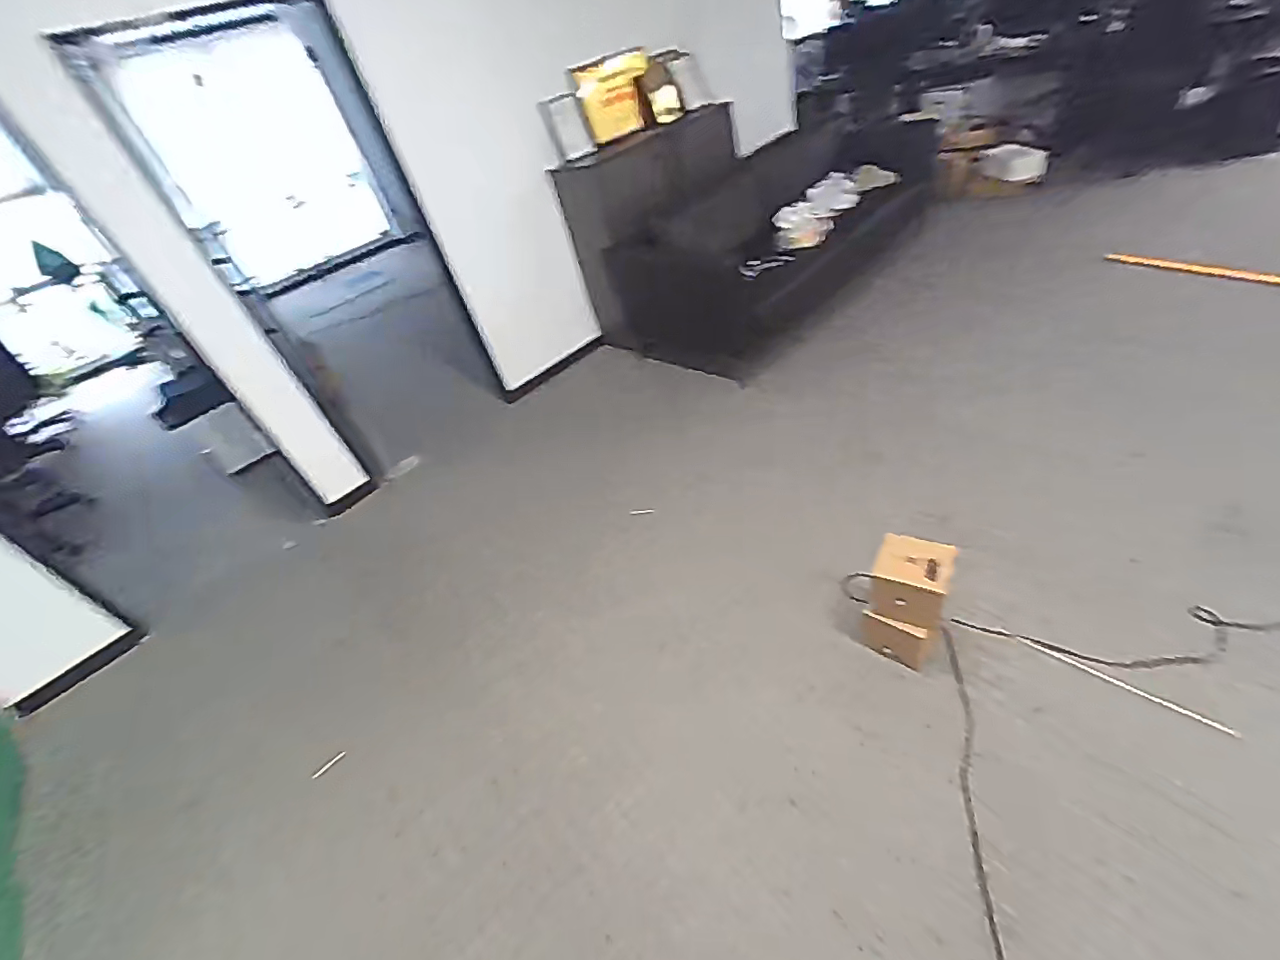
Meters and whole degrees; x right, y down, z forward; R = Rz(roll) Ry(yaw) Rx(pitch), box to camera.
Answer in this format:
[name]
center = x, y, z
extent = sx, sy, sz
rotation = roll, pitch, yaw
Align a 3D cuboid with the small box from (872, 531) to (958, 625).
[small box]
center = 0.746, 0.269, 1.470
extent = 0.179, 0.176, 0.168
rotation = 10, 46, 35
